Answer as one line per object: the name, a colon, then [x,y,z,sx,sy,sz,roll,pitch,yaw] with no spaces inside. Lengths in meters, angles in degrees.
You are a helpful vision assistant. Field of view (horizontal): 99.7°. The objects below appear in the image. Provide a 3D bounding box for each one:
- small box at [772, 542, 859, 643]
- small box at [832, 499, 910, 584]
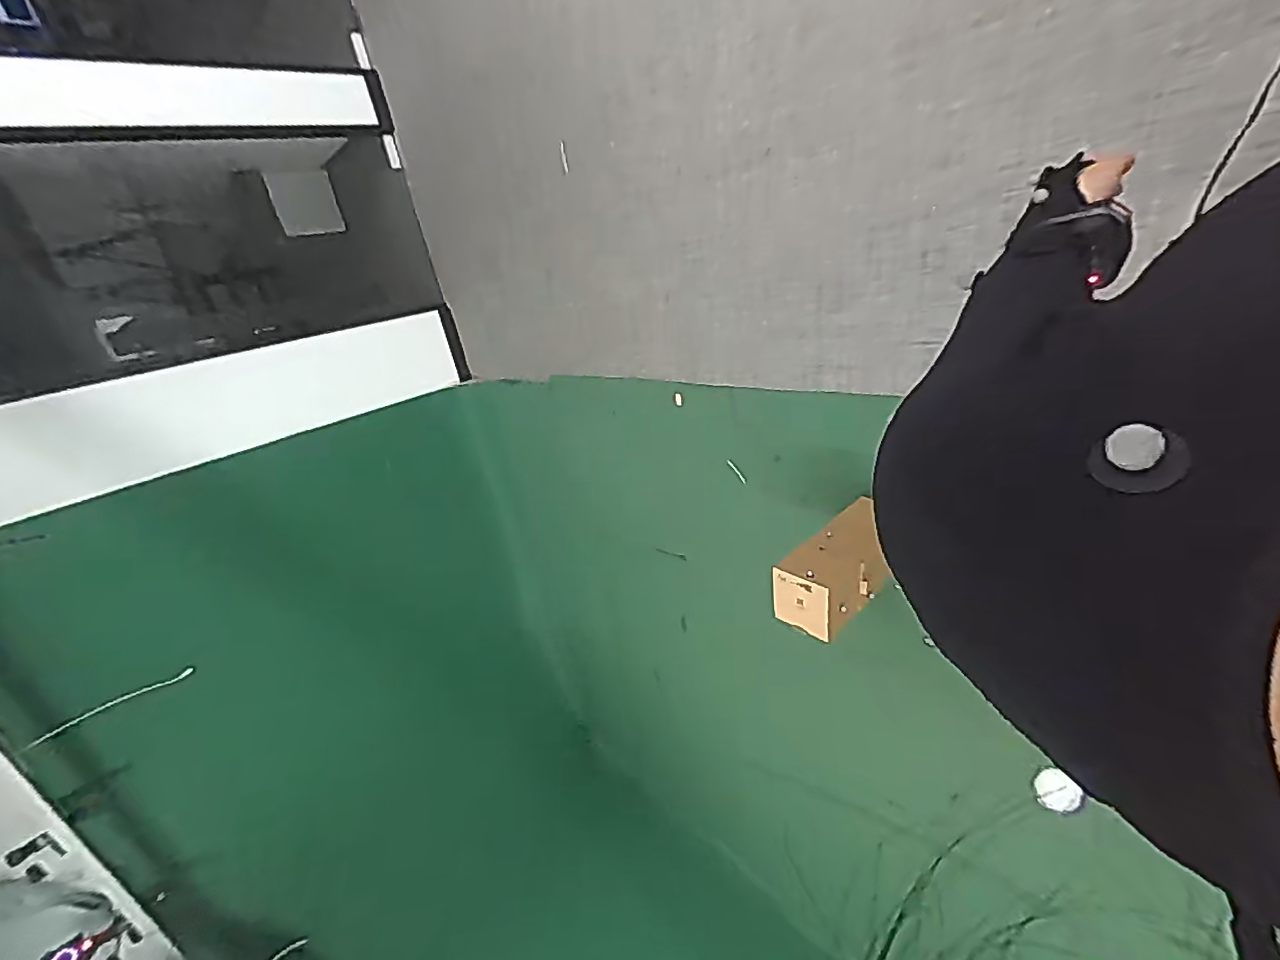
small box: [0.477,0.297,1.465,0.168,0.176,0.179,19,127,45]
small box: [0.711,0.182,1.667,0.168,0.176,0.179,23,129,41]
